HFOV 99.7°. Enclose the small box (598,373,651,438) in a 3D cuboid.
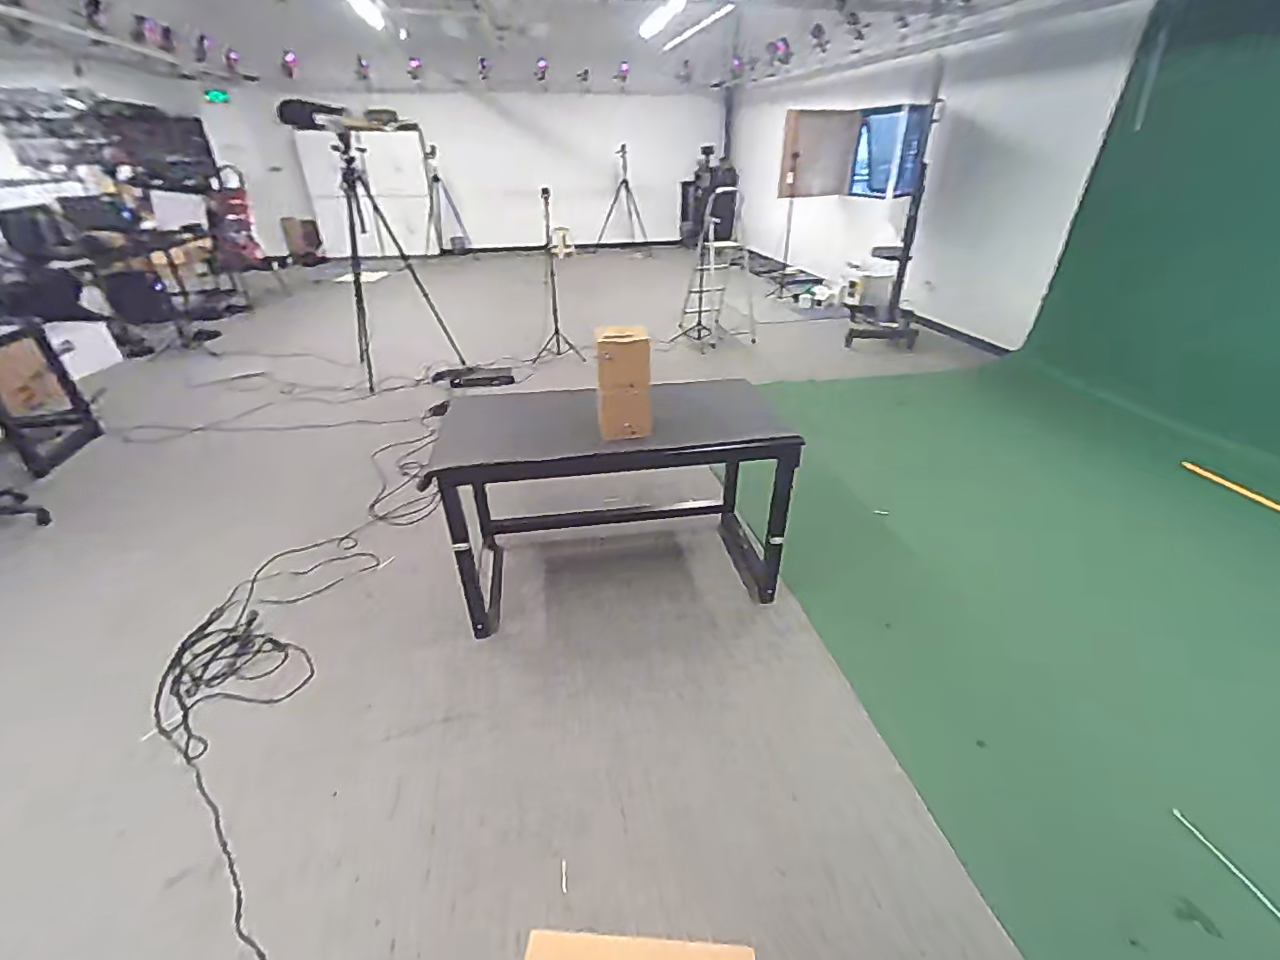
[{"bbox_3d":[-0.056,-0.254,1.839,0.168,0.176,0.179,-5,31,-6],"label":"small box"}]
